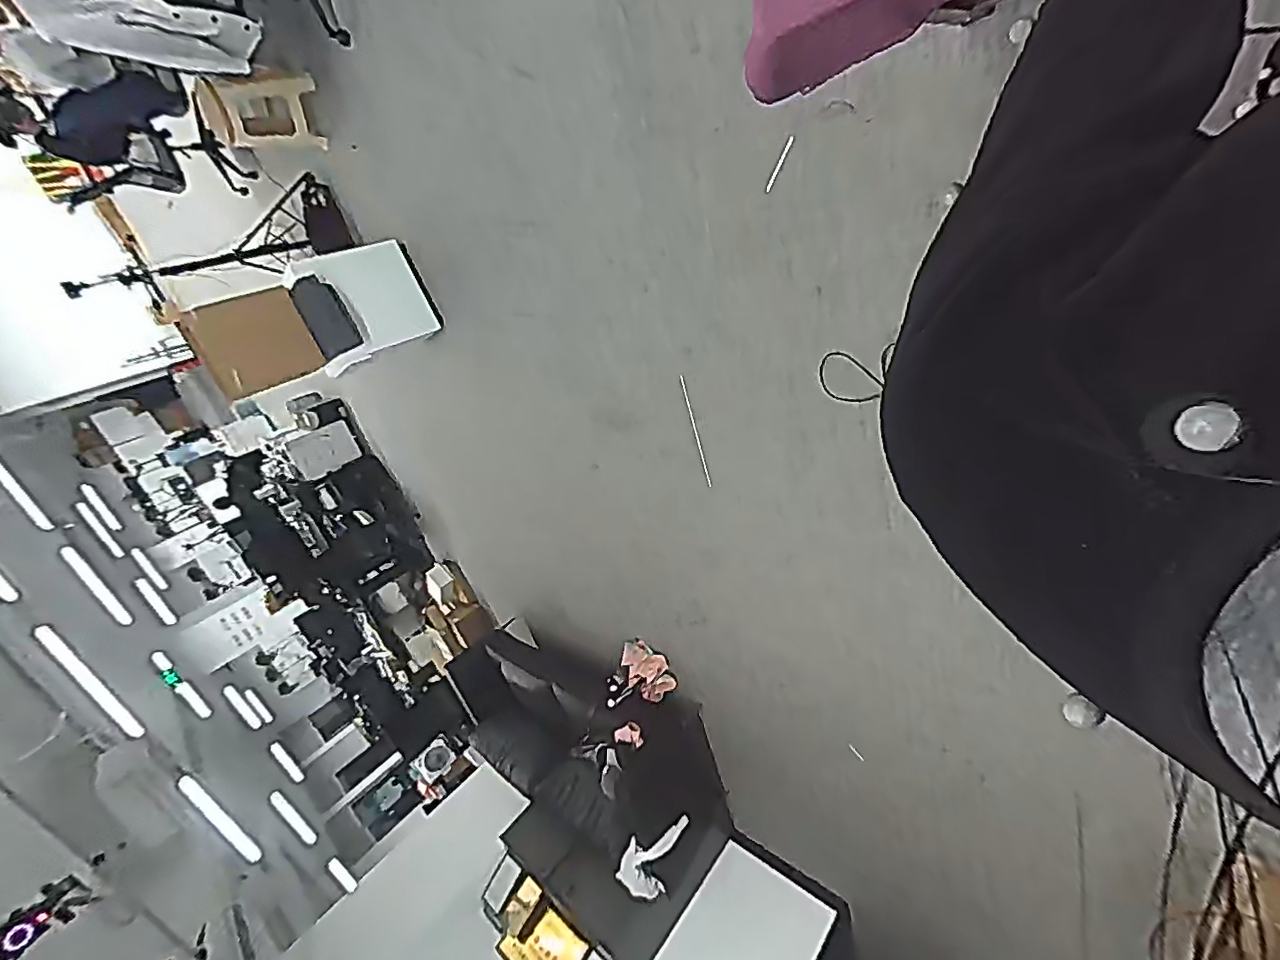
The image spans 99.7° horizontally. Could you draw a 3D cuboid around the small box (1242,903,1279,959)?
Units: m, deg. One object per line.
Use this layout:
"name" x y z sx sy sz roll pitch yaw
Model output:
"small box" 1.727 1.283 1.424 0.168 0.176 0.179 10 124 42
